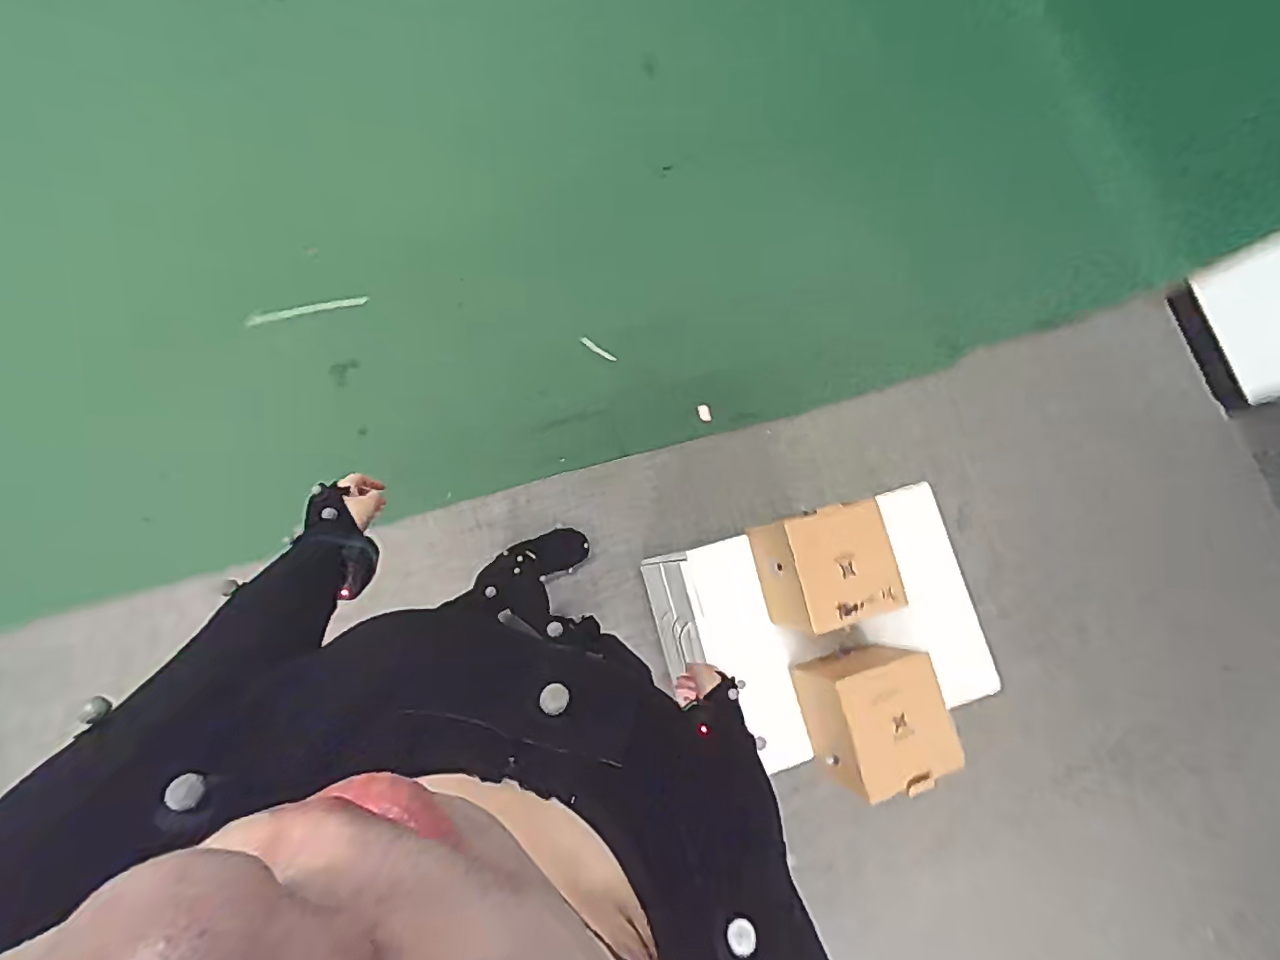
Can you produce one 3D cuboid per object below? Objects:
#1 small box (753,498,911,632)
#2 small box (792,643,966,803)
[{"bbox_3d":[0.305,0.141,0.901,0.168,0.176,0.179,-12,83,-10],"label":"small box"},{"bbox_3d":[0.371,0.376,0.871,0.168,0.176,0.179,-12,80,-11],"label":"small box"}]
